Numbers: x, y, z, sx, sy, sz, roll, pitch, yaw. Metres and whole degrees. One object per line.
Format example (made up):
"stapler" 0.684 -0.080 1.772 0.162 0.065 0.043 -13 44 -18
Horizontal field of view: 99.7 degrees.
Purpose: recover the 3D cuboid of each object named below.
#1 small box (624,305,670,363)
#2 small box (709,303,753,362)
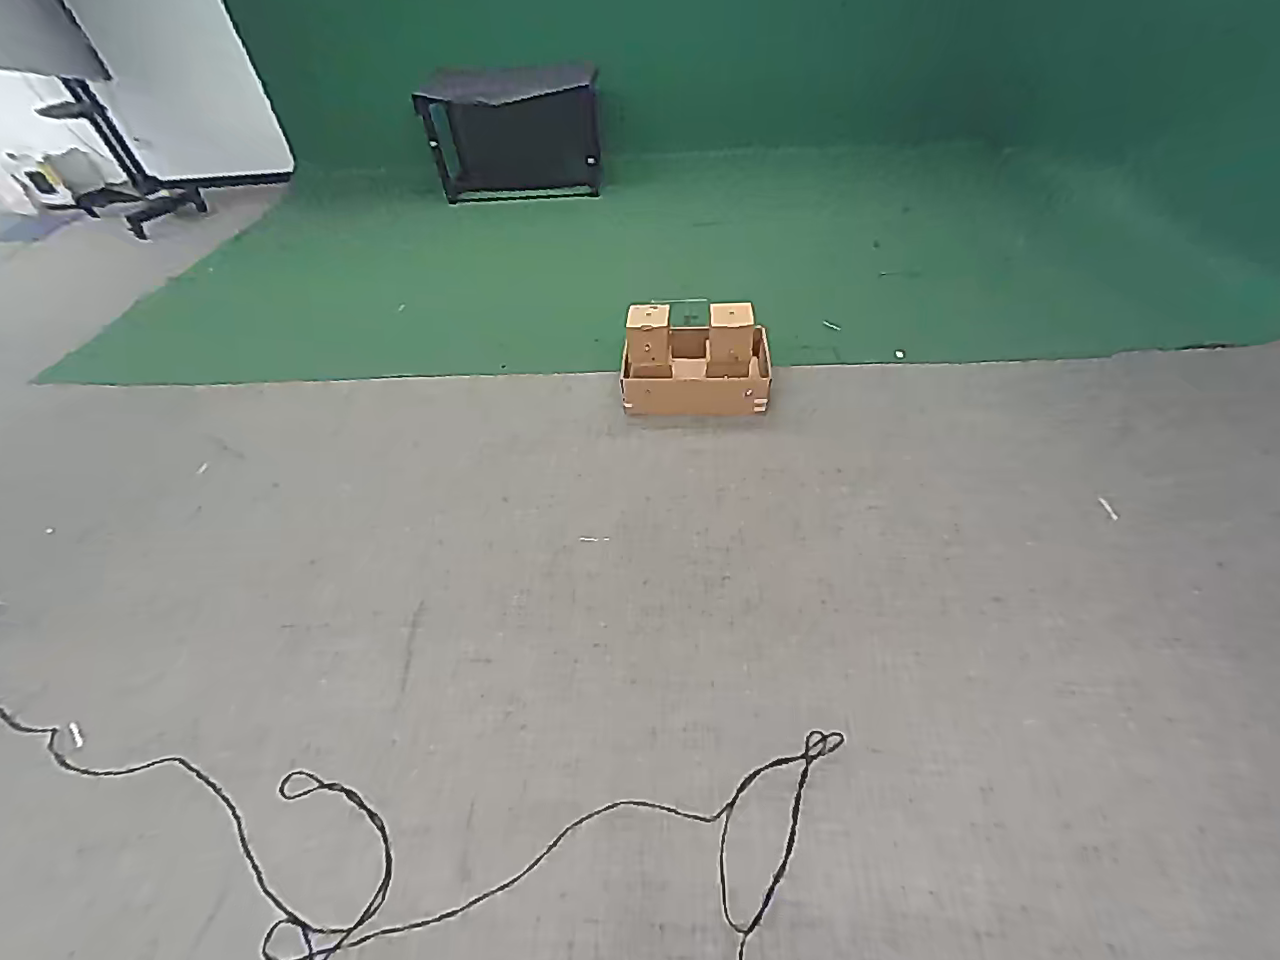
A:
"small box" 0.034 -0.595 2.214 0.168 0.176 0.179 1 48 6
"small box" 0.364 -0.595 2.185 0.168 0.176 0.179 -1 47 6
